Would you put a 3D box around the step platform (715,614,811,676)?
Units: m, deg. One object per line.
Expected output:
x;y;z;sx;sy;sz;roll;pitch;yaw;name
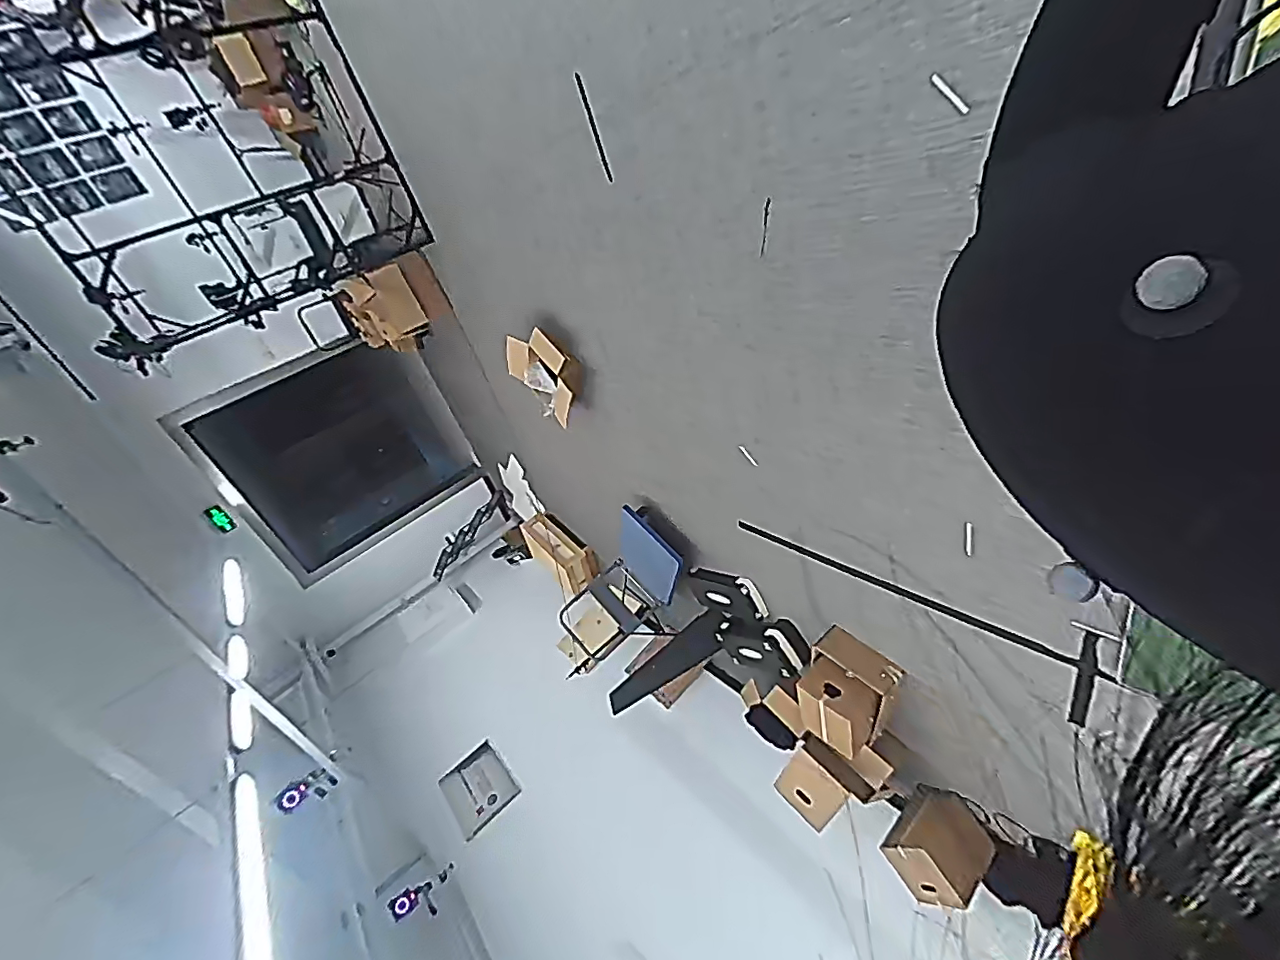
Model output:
0.759;1.045;3.458;0.286;0.204;0.684;56;155;-4;step platform
